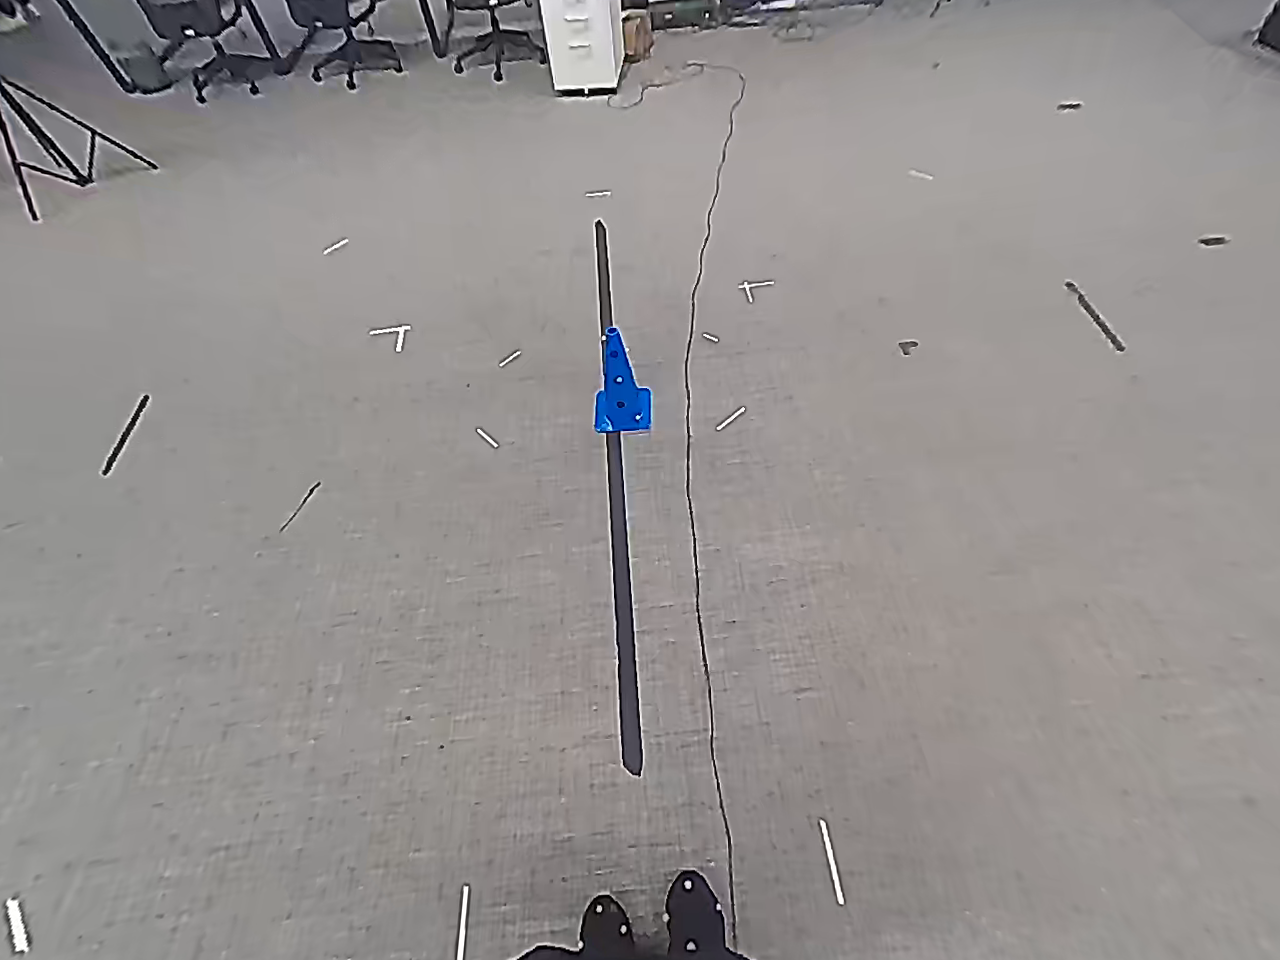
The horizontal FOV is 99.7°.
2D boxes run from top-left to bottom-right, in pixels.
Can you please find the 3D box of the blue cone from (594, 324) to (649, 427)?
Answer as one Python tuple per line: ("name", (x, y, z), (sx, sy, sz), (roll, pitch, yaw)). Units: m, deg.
("blue cone", (-0.075, -0.358, 1.783), (0.193, 0.380, 0.192), (-3, 55, 1))
